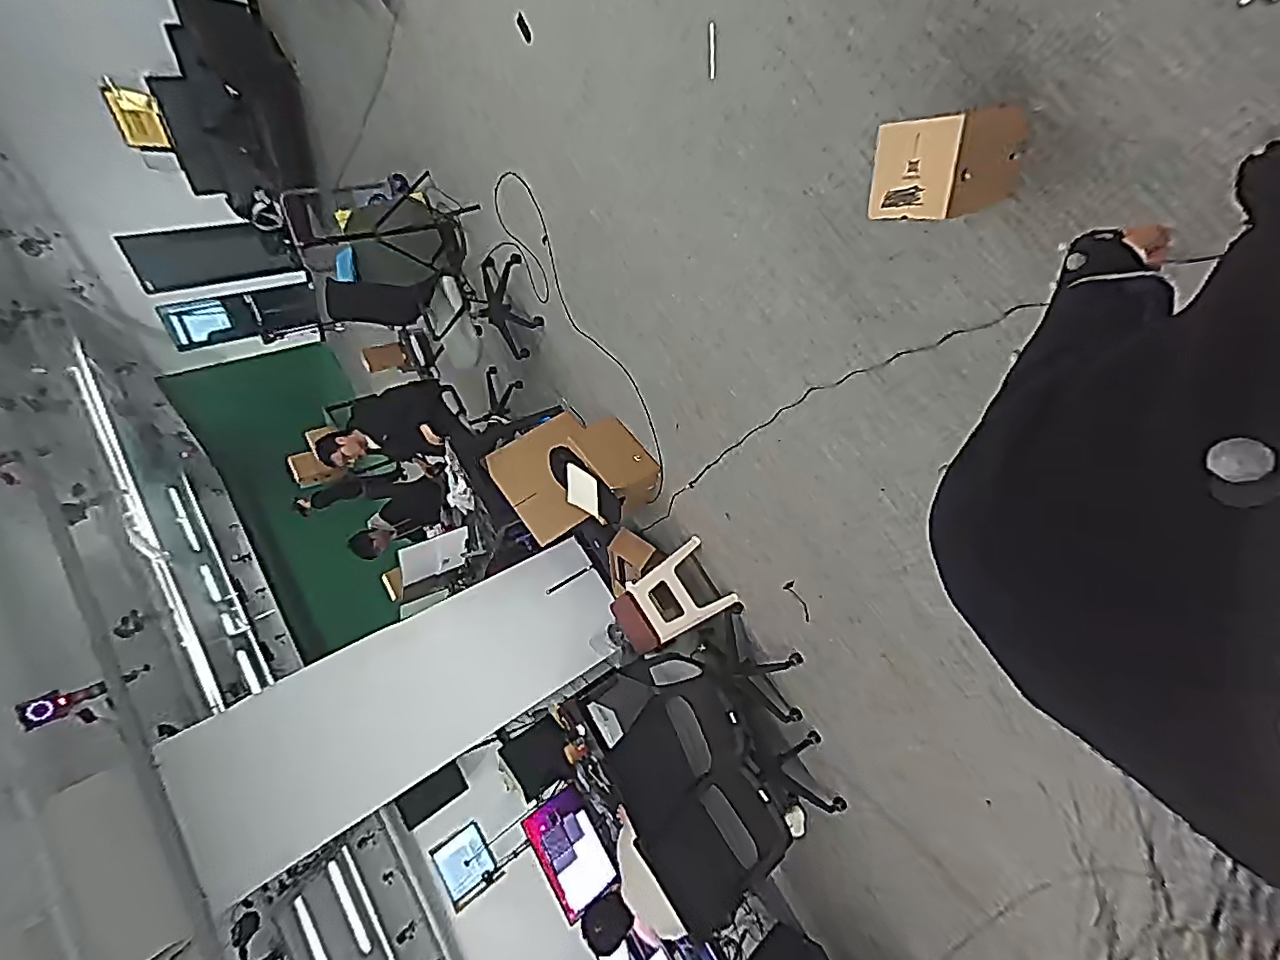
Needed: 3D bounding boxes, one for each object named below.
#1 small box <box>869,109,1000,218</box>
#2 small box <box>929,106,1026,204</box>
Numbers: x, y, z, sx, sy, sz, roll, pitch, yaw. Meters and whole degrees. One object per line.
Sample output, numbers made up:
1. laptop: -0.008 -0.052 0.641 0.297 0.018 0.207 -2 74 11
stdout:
1. small box: 0.601 -0.646 1.107 0.168 0.176 0.179 29 135 44
2. small box: 0.720 -0.715 1.200 0.168 0.176 0.179 29 134 45
